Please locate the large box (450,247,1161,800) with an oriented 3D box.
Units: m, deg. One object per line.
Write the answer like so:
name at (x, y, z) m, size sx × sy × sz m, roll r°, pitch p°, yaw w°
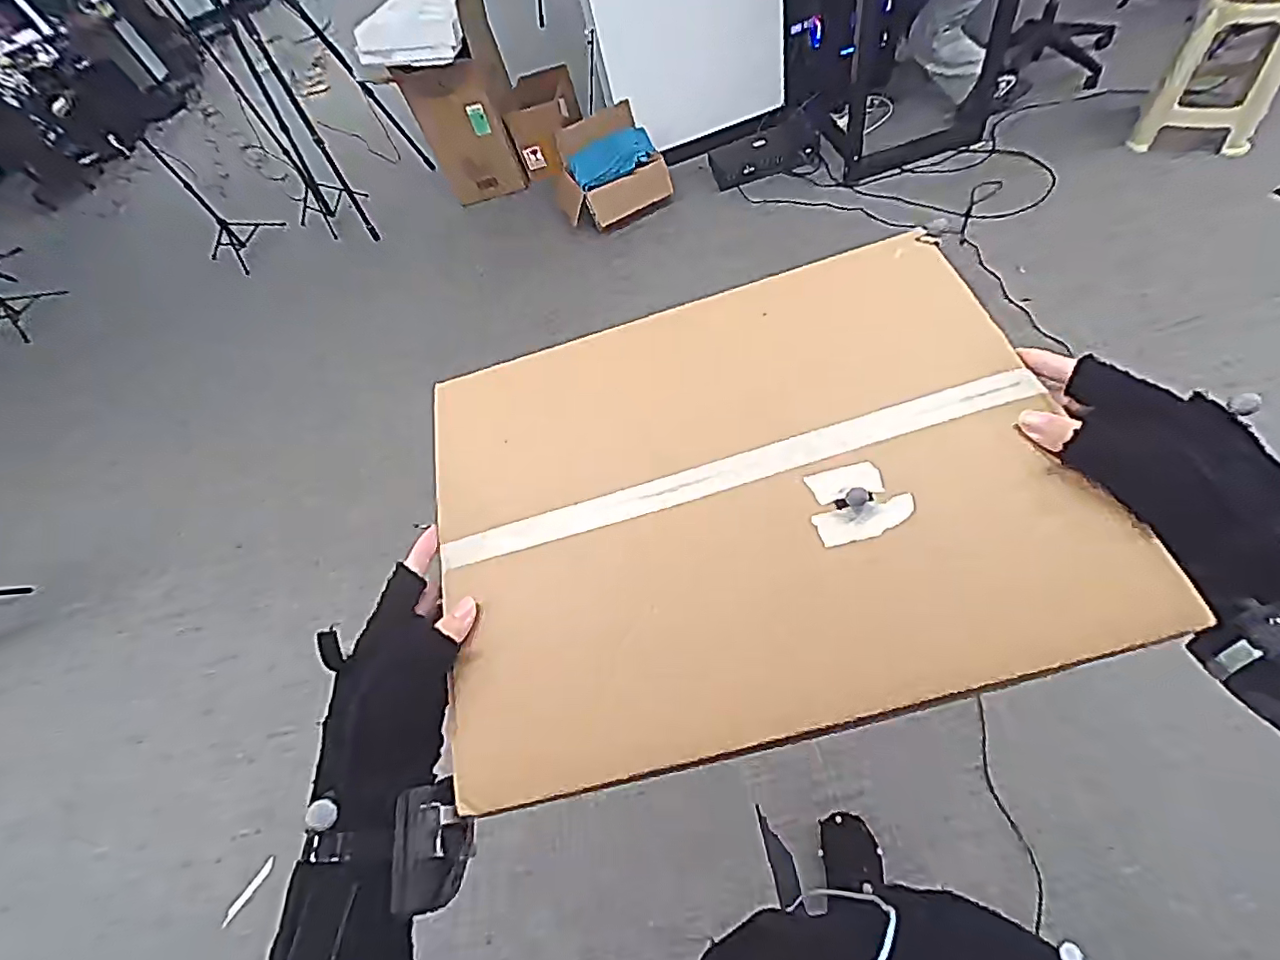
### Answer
large box at (0.089, 0.065, 0.504) m, size 0.408 × 0.320 × 0.320 m, roll -17°, pitch 62°, yaw 4°
